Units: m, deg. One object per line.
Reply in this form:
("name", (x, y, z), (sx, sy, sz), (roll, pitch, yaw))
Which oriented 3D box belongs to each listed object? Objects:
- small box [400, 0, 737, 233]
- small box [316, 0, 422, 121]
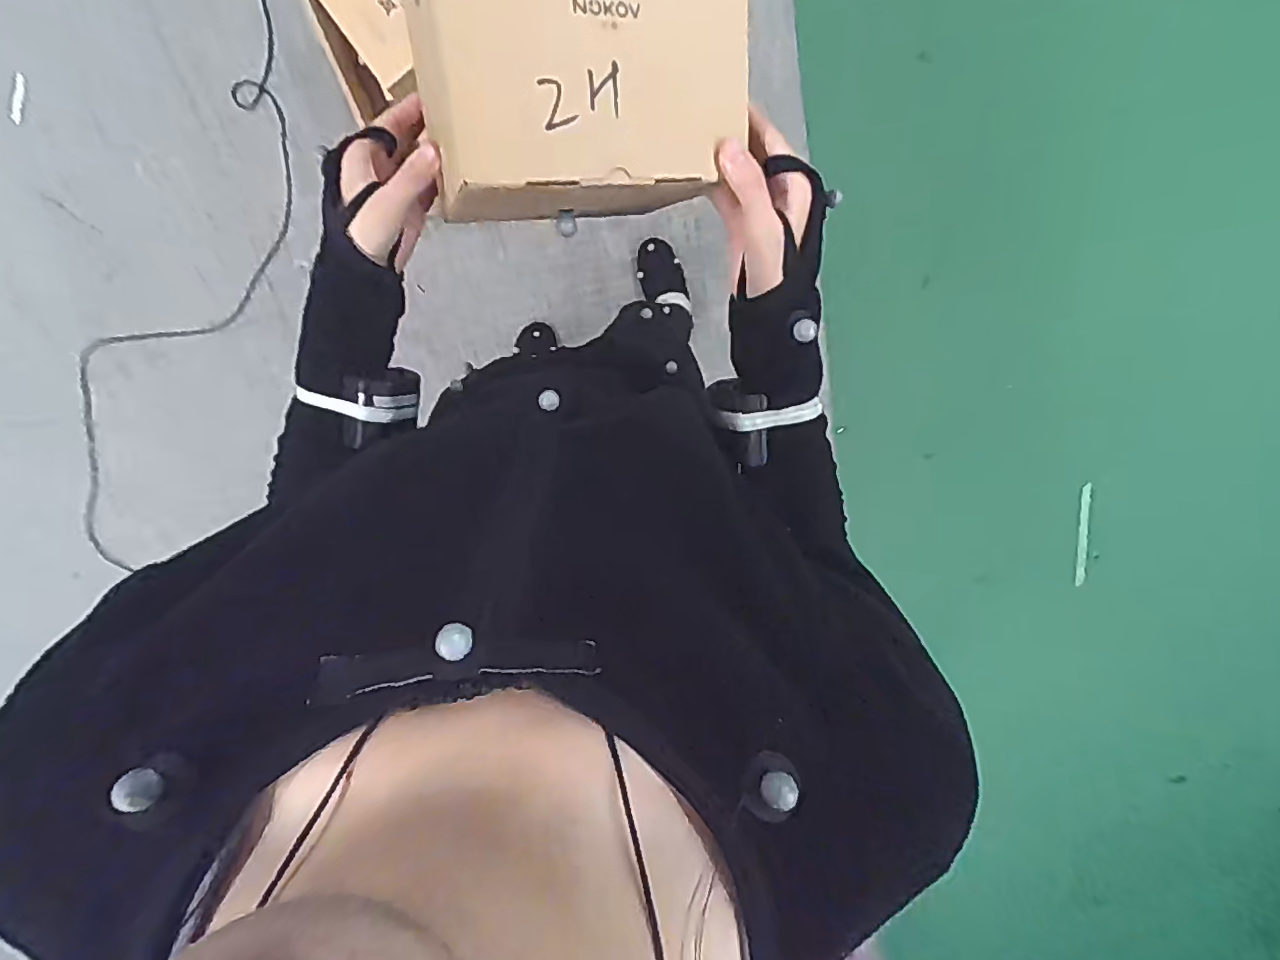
("small box", (-0.053, -0.264, 0.344), (0.168, 0.176, 0.179), (-12, 112, -19))
("small box", (-0.401, -0.763, 0.926), (0.179, 0.176, 0.168), (-34, 111, 6))
